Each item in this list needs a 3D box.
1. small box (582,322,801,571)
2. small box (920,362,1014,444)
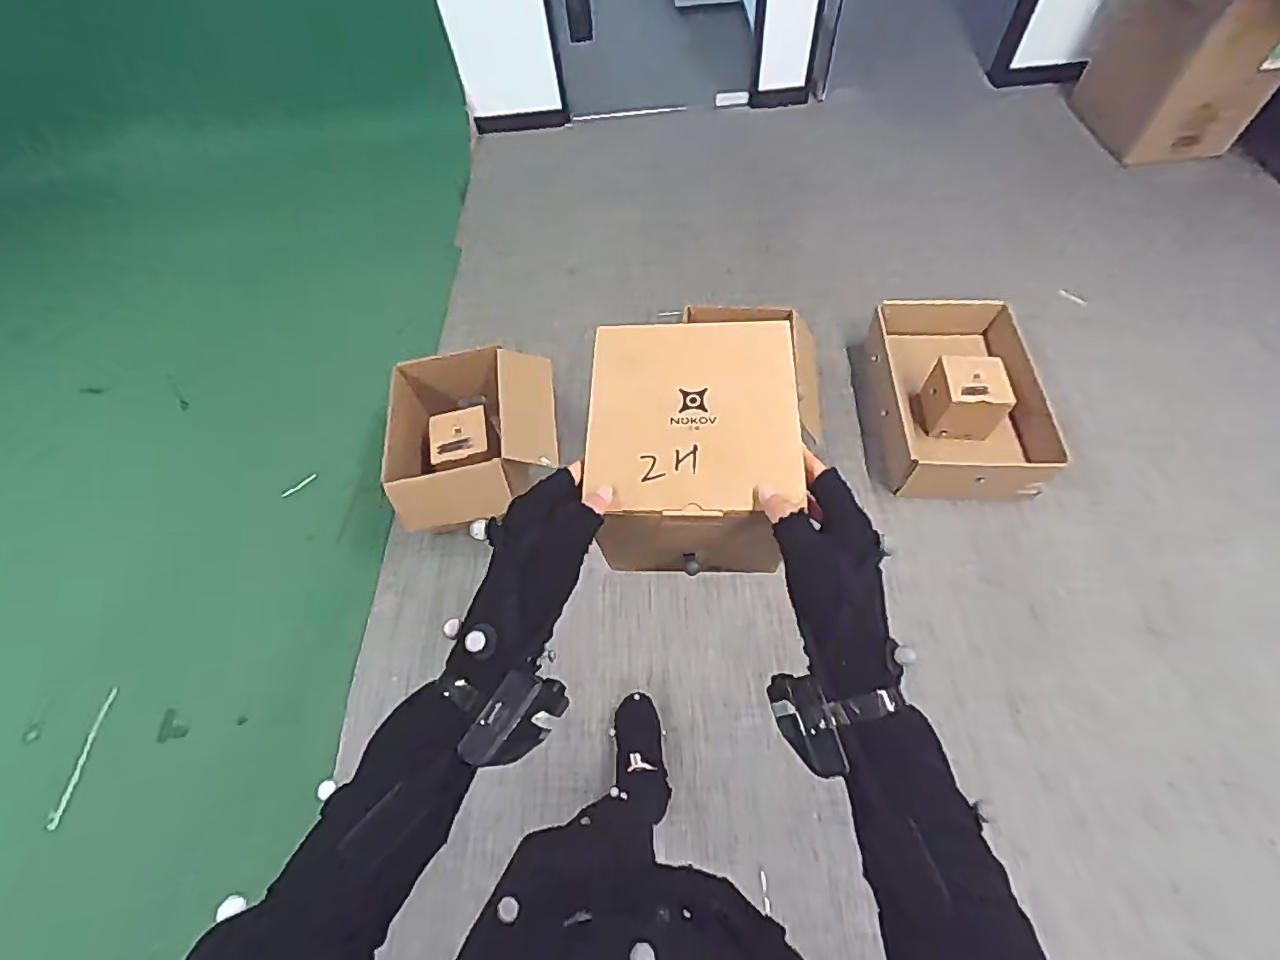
[{"bbox_3d":[0.048,-0.025,0.506,0.168,0.176,0.179,1,65,6],"label":"small box"},{"bbox_3d":[0.937,-0.220,1.566,0.168,0.176,0.179,4,57,6],"label":"small box"}]
